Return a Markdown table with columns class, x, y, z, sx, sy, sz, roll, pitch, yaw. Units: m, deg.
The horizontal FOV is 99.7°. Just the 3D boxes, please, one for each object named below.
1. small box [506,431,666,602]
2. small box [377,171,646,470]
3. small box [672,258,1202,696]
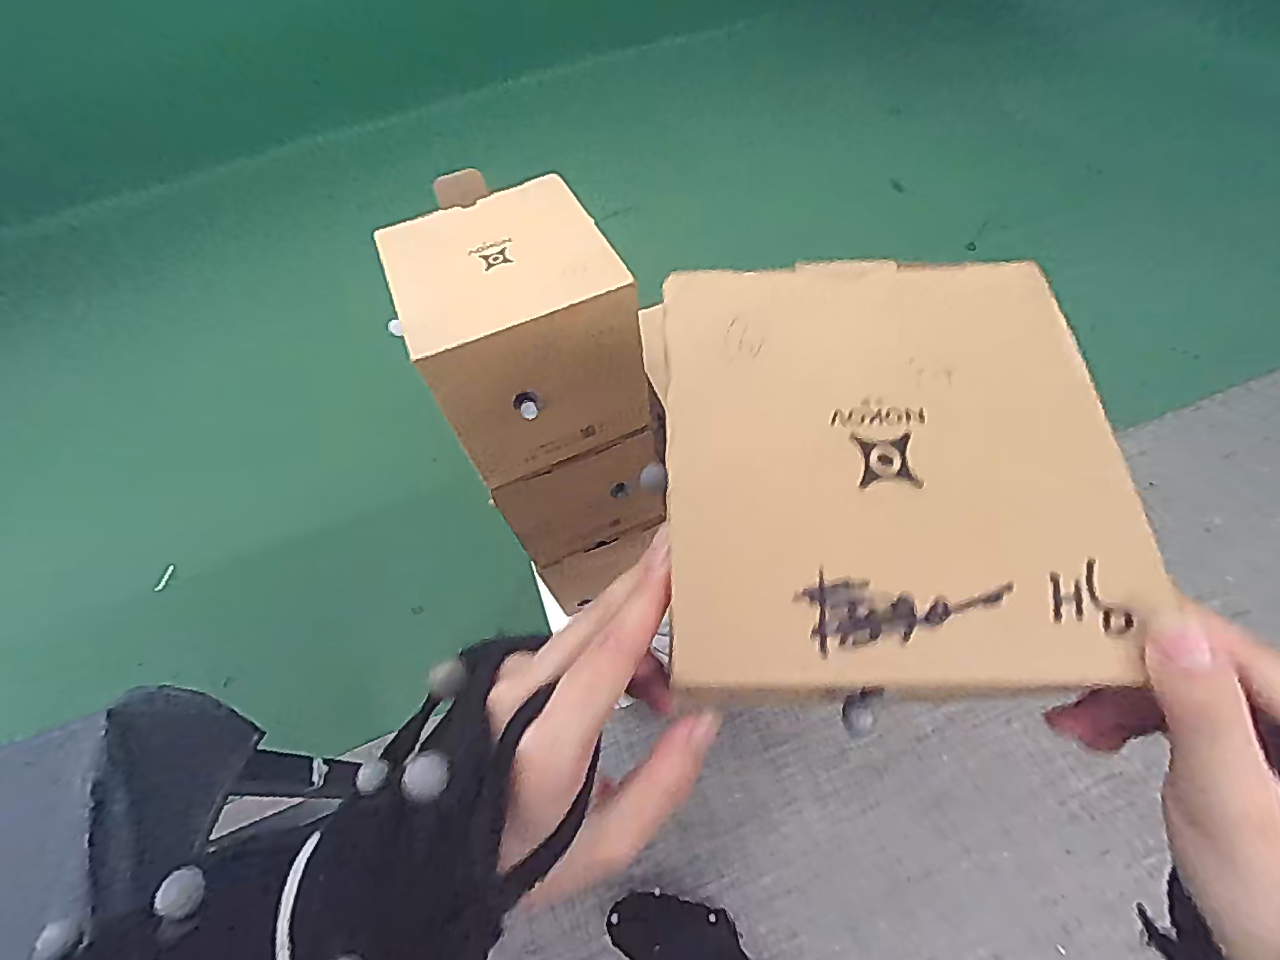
| class | x | y | z | sx | sy | sz | roll | pitch | yaw |
| --- | --- | --- | --- | --- | --- | --- | --- | --- | --- |
| small box | -0.070 | 0.052 | 0.749 | 0.168 | 0.176 | 0.179 | -20 | 57 | -7 |
| small box | -0.103 | -0.131 | 0.481 | 0.168 | 0.176 | 0.179 | -23 | 58 | -9 |
| small box | 0.101 | 0.012 | 0.282 | 0.168 | 0.176 | 0.179 | -1 | 65 | 2 |
